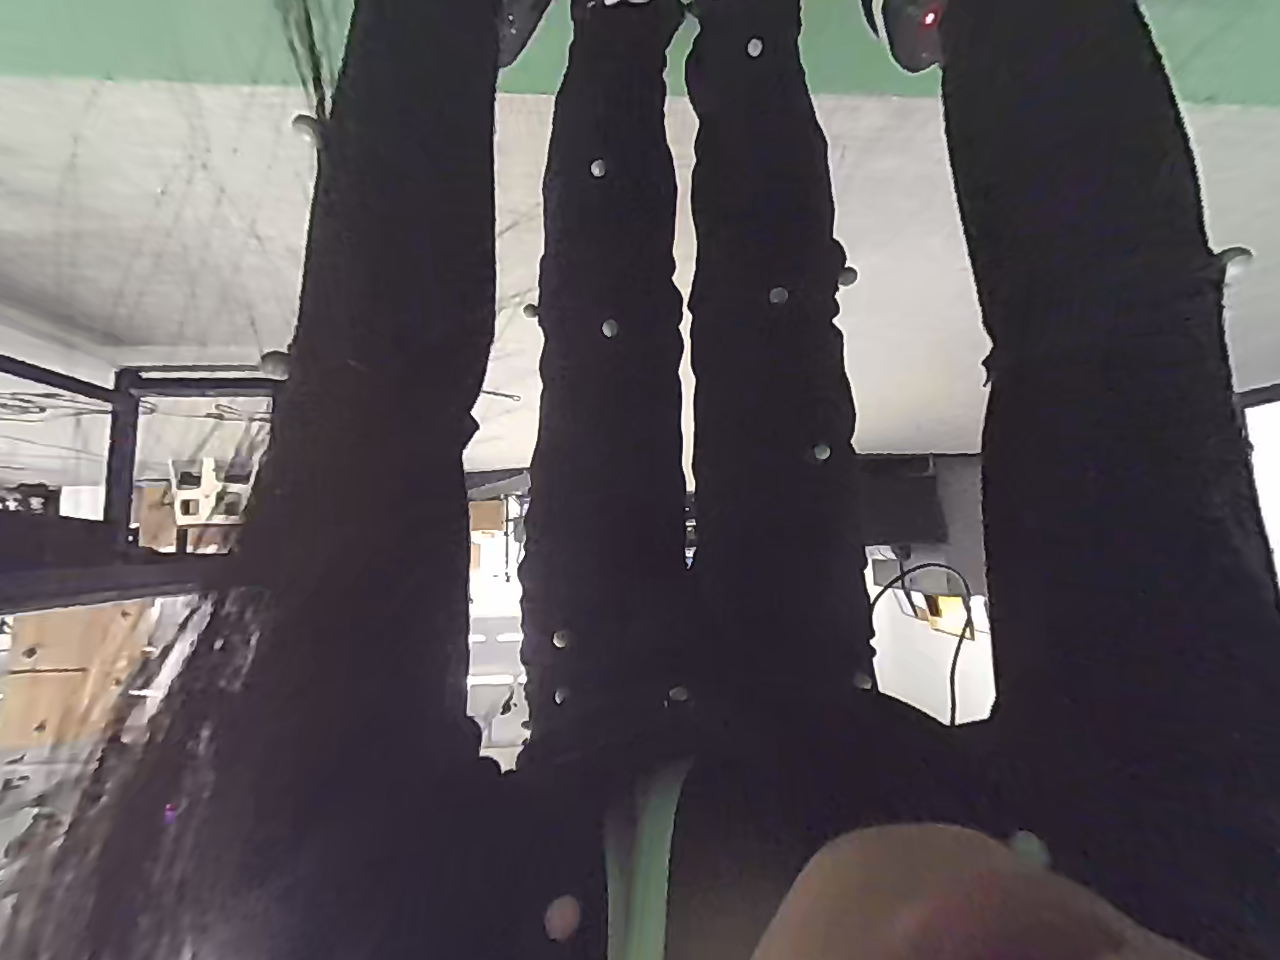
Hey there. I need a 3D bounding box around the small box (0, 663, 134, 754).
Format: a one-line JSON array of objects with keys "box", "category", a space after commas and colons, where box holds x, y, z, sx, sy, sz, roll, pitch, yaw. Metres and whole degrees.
[{"box": [-1.352, 0.527, 1.274, 0.179, 0.176, 0.168, 0, 173, -6], "category": "small box"}]

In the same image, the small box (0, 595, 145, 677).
[{"box": [-1.345, 0.367, 1.296, 0.179, 0.176, 0.168, 0, 174, -5], "category": "small box"}]
